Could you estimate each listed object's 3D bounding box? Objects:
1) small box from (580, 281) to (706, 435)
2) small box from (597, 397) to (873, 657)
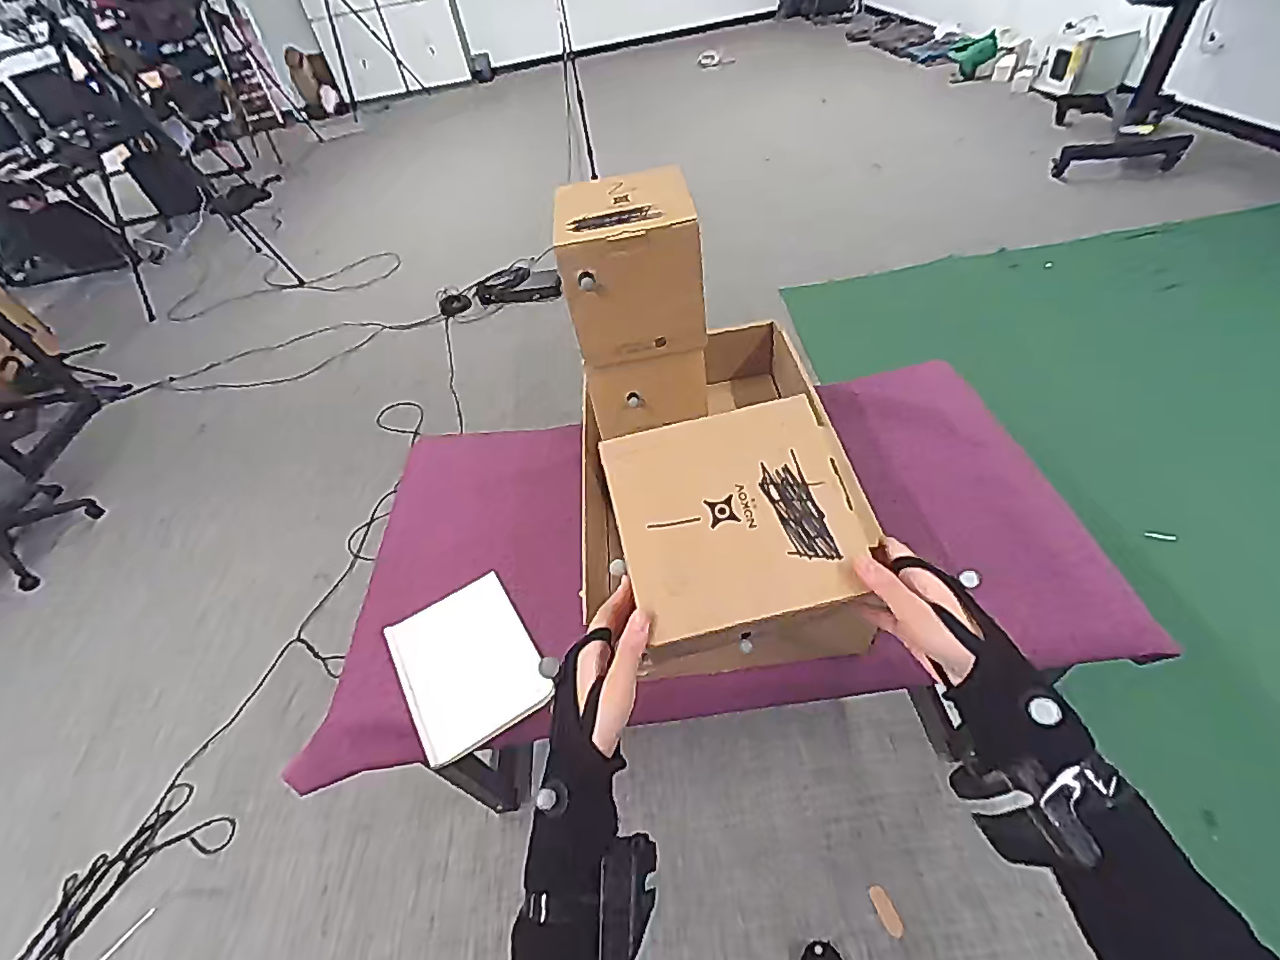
[{"bbox_3d":[0.009,-0.178,0.838,0.168,0.176,0.179,-7,48,5],"label":"small box"},{"bbox_3d":[0.068,0.052,0.480,0.179,0.176,0.168,-13,67,-2],"label":"small box"}]
